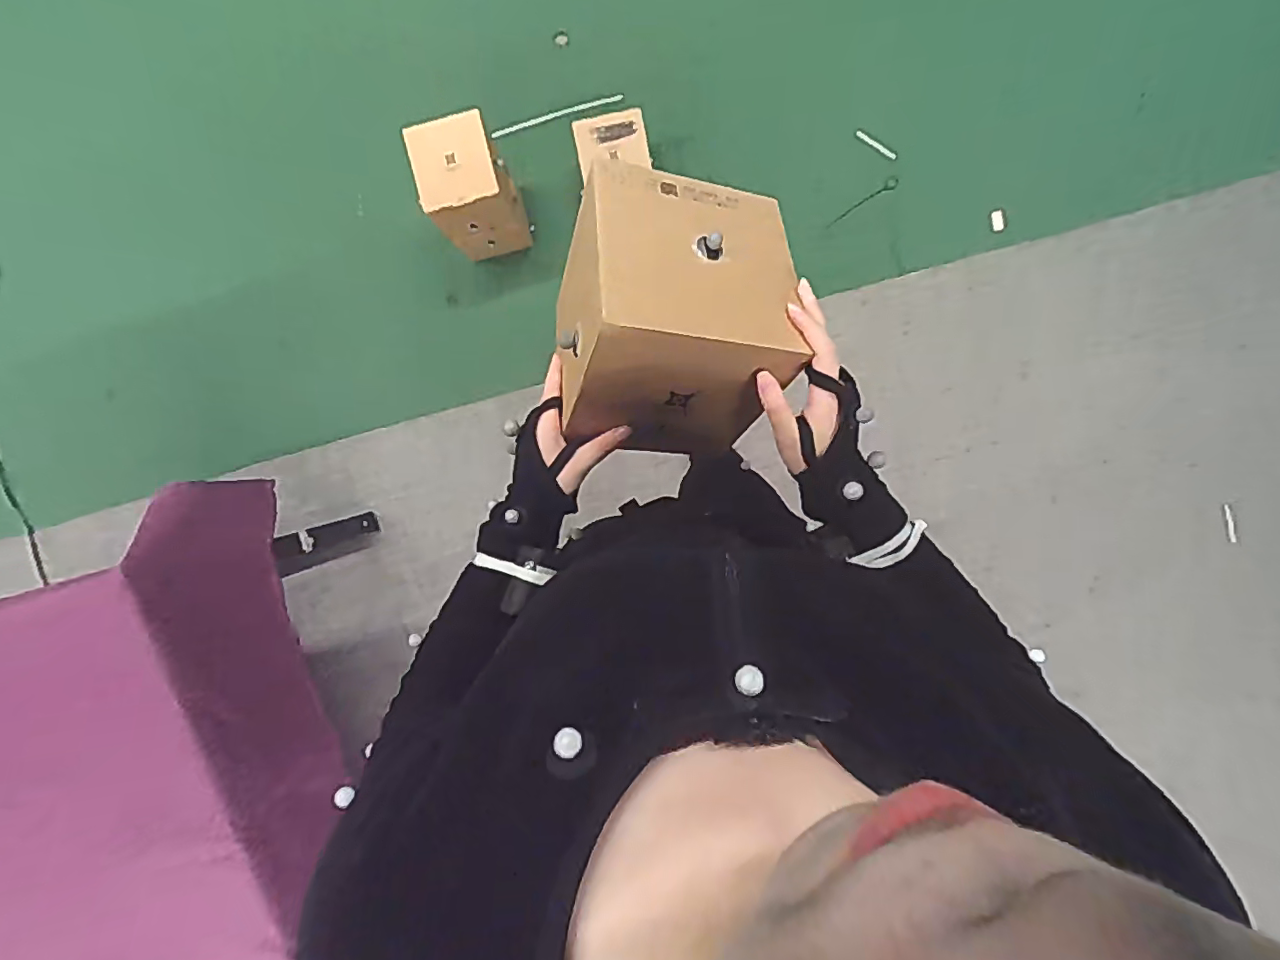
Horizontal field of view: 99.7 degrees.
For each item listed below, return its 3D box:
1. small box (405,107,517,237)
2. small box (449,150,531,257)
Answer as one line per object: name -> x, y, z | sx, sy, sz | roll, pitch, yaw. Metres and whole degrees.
small box -> -0.385, -0.668, 1.191 | 0.168, 0.176, 0.179 | -14, 94, 3
small box -> -0.383, -0.682, 1.354 | 0.179, 0.176, 0.168 | -14, 94, 3
